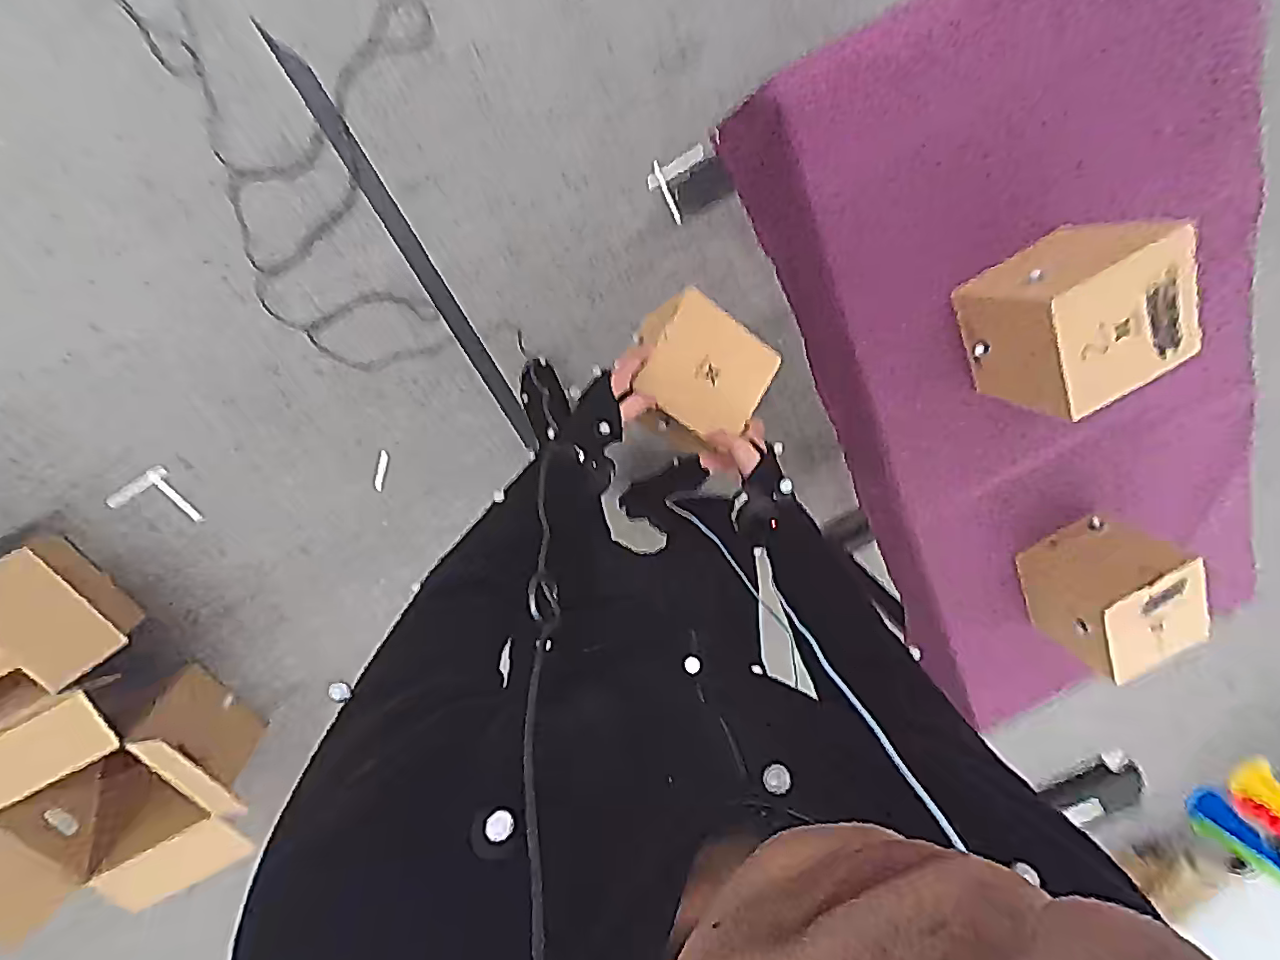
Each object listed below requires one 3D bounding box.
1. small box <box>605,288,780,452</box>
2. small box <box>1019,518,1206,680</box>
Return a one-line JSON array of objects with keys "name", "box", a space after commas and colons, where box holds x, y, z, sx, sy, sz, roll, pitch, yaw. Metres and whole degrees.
[{"name": "small box", "box": [0.072, -0.160, 0.831, 0.179, 0.176, 0.168, 32, 84, -16]}, {"name": "small box", "box": [0.775, 0.184, 0.900, 0.168, 0.176, 0.179, -29, 114, 3]}]
